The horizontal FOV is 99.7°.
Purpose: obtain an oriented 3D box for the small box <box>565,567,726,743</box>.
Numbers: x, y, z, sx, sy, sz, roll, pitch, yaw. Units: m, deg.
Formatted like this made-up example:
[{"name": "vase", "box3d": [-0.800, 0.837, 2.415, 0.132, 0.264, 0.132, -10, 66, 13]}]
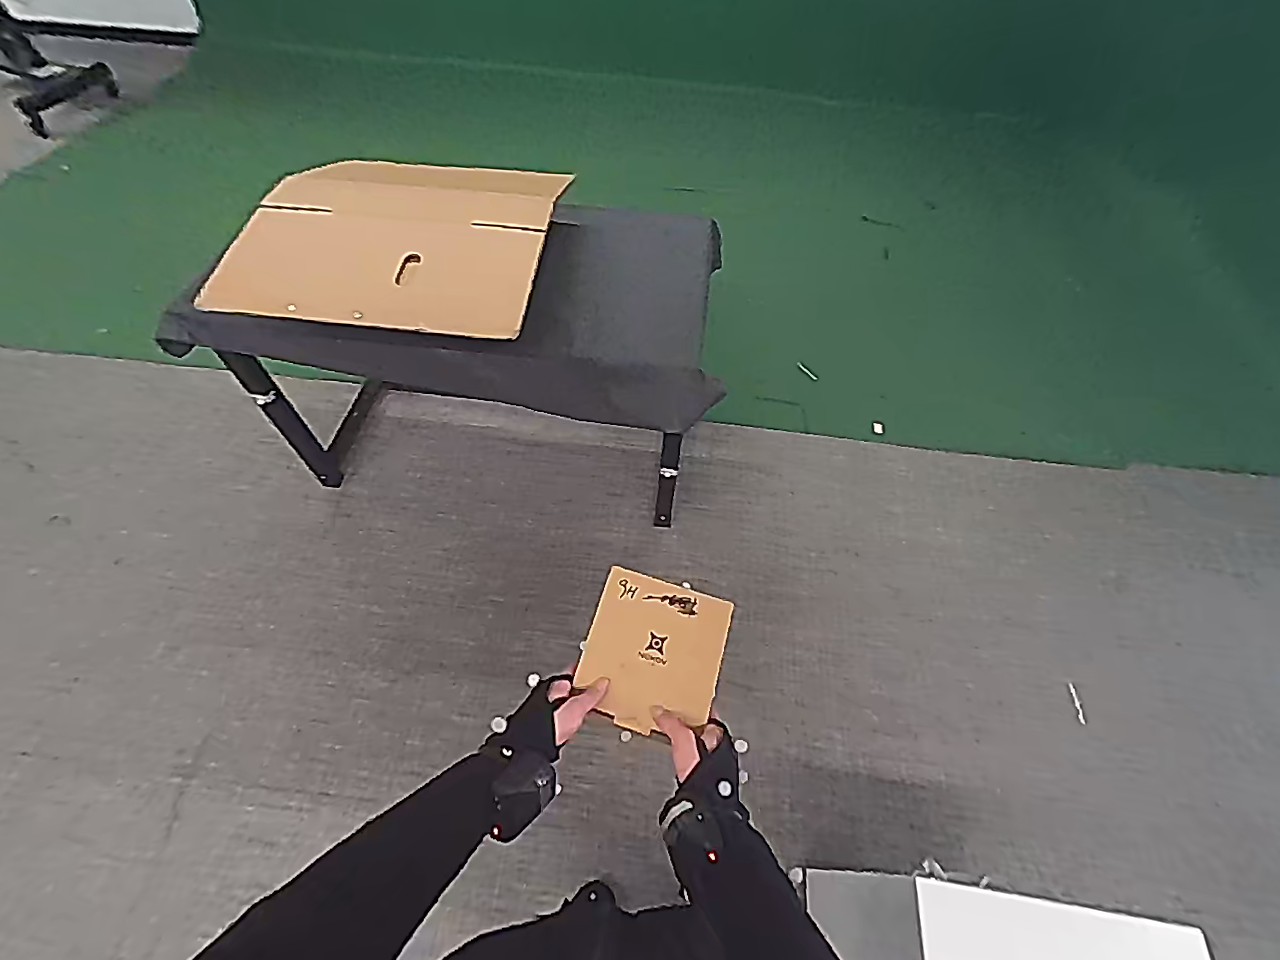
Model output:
[{"name": "small box", "box3d": [0.007, 0.245, 0.738, 0.168, 0.176, 0.179, 15, 63, 4]}]
